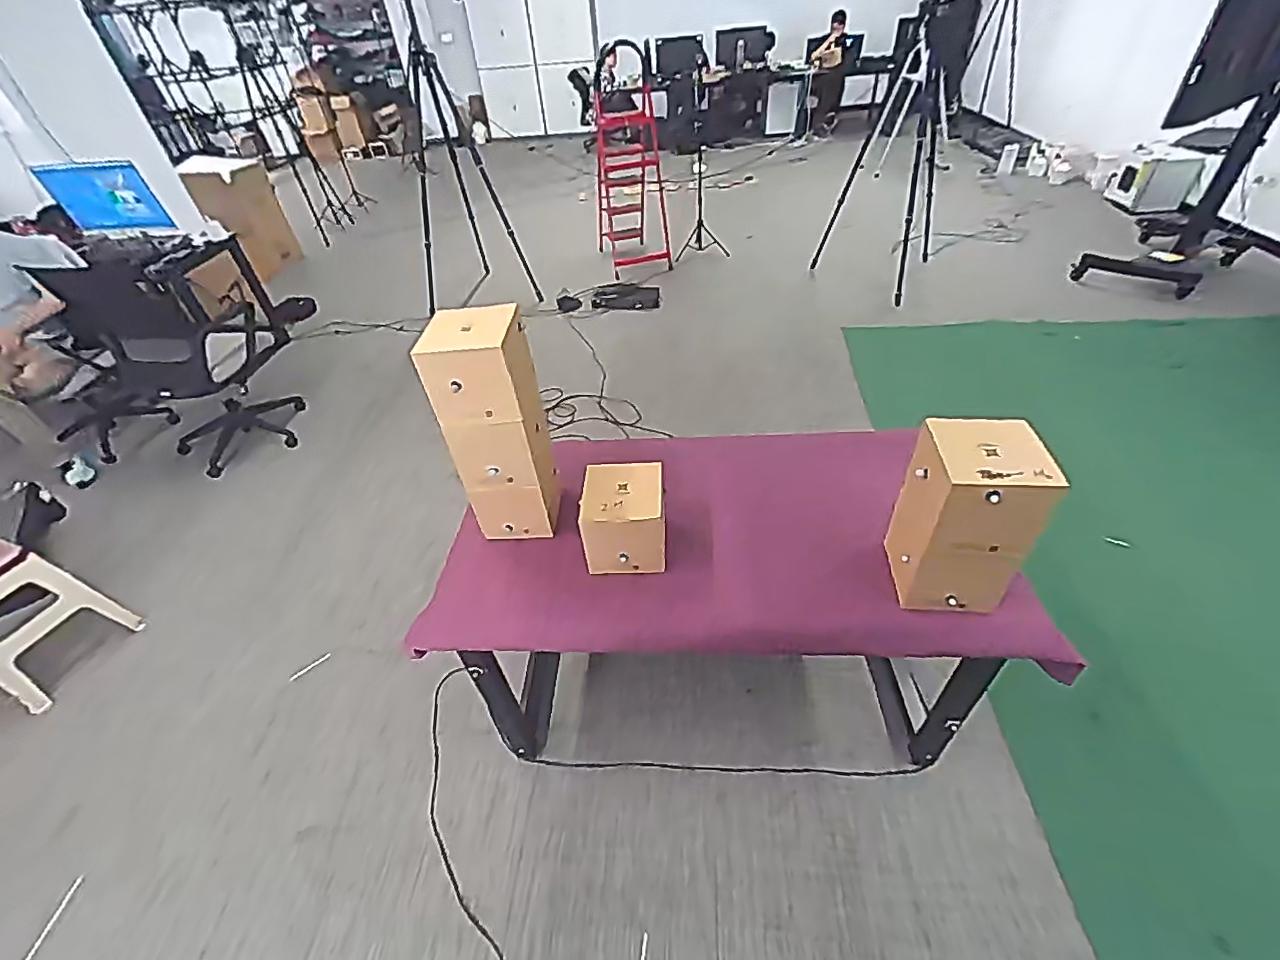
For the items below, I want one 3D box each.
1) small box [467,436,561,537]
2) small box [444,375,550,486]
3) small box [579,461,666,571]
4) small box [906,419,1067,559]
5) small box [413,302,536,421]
[{"bbox_3d":[-0.286,0.014,1.275,0.168,0.176,0.179,-3,43,4],"label":"small box"},{"bbox_3d":[-0.297,-0.107,1.167,0.168,0.176,0.179,-3,43,4],"label":"small box"},{"bbox_3d":[-0.030,0.077,1.177,0.168,0.176,0.179,-2,42,5],"label":"small box"},{"bbox_3d":[0.576,0.012,0.932,0.168,0.176,0.179,1,41,10],"label":"small box"},{"bbox_3d":[-0.310,-0.227,1.057,0.168,0.176,0.179,-4,42,4],"label":"small box"}]
